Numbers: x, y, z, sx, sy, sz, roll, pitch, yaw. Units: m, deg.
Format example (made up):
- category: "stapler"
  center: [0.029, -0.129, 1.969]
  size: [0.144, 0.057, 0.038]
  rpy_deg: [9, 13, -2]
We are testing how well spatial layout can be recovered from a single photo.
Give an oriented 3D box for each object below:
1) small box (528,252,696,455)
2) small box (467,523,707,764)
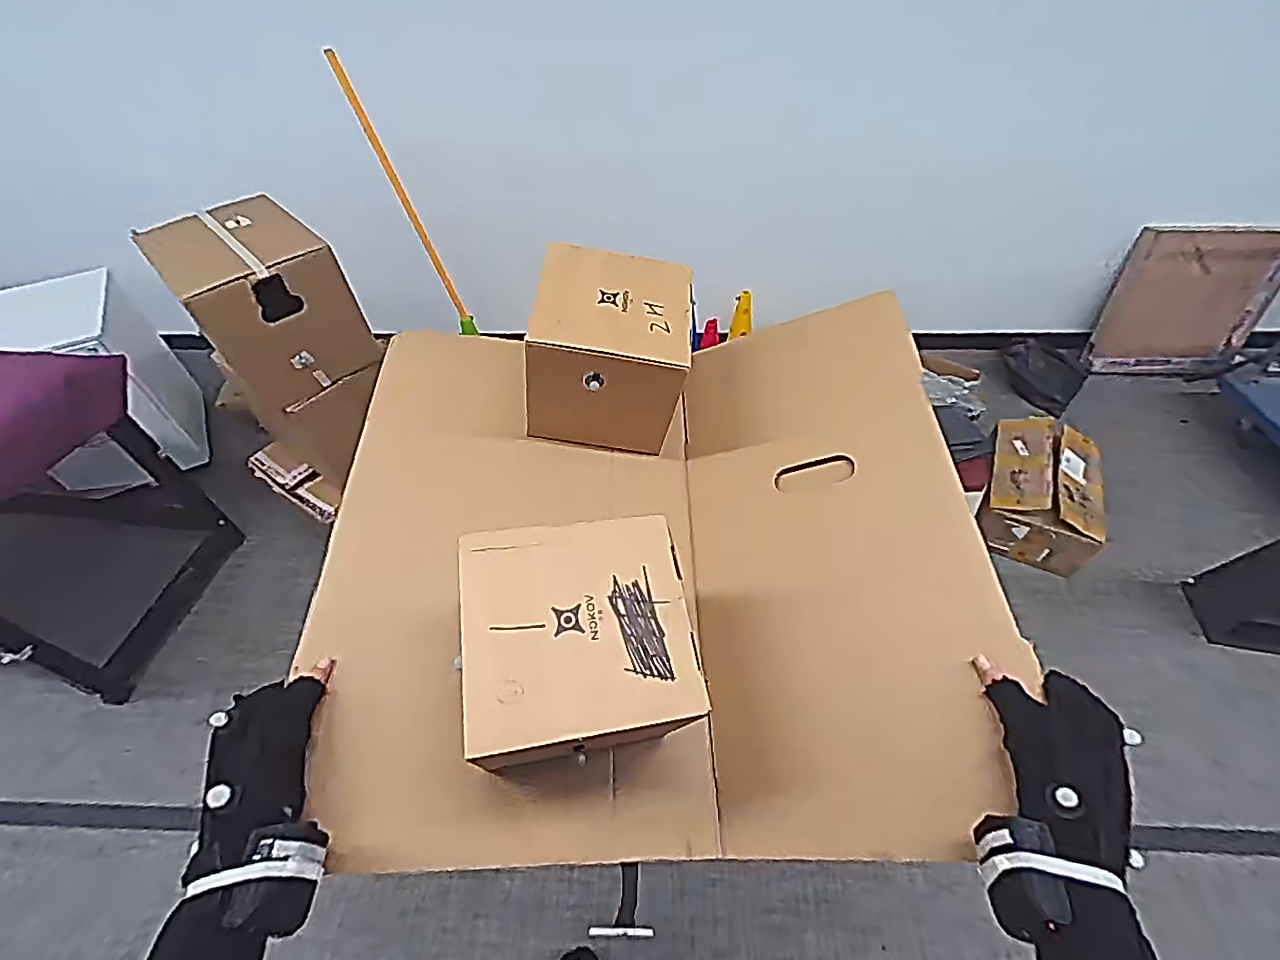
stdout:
- category: "small box"
  center: [-0.037, -0.149, 0.675]
  size: [0.179, 0.176, 0.168]
  rpy_deg: [9, 59, -6]
- category: "small box"
  center: [-0.059, 0.152, 0.492]
  size: [0.179, 0.176, 0.168]
  rpy_deg: [-4, 61, -13]
